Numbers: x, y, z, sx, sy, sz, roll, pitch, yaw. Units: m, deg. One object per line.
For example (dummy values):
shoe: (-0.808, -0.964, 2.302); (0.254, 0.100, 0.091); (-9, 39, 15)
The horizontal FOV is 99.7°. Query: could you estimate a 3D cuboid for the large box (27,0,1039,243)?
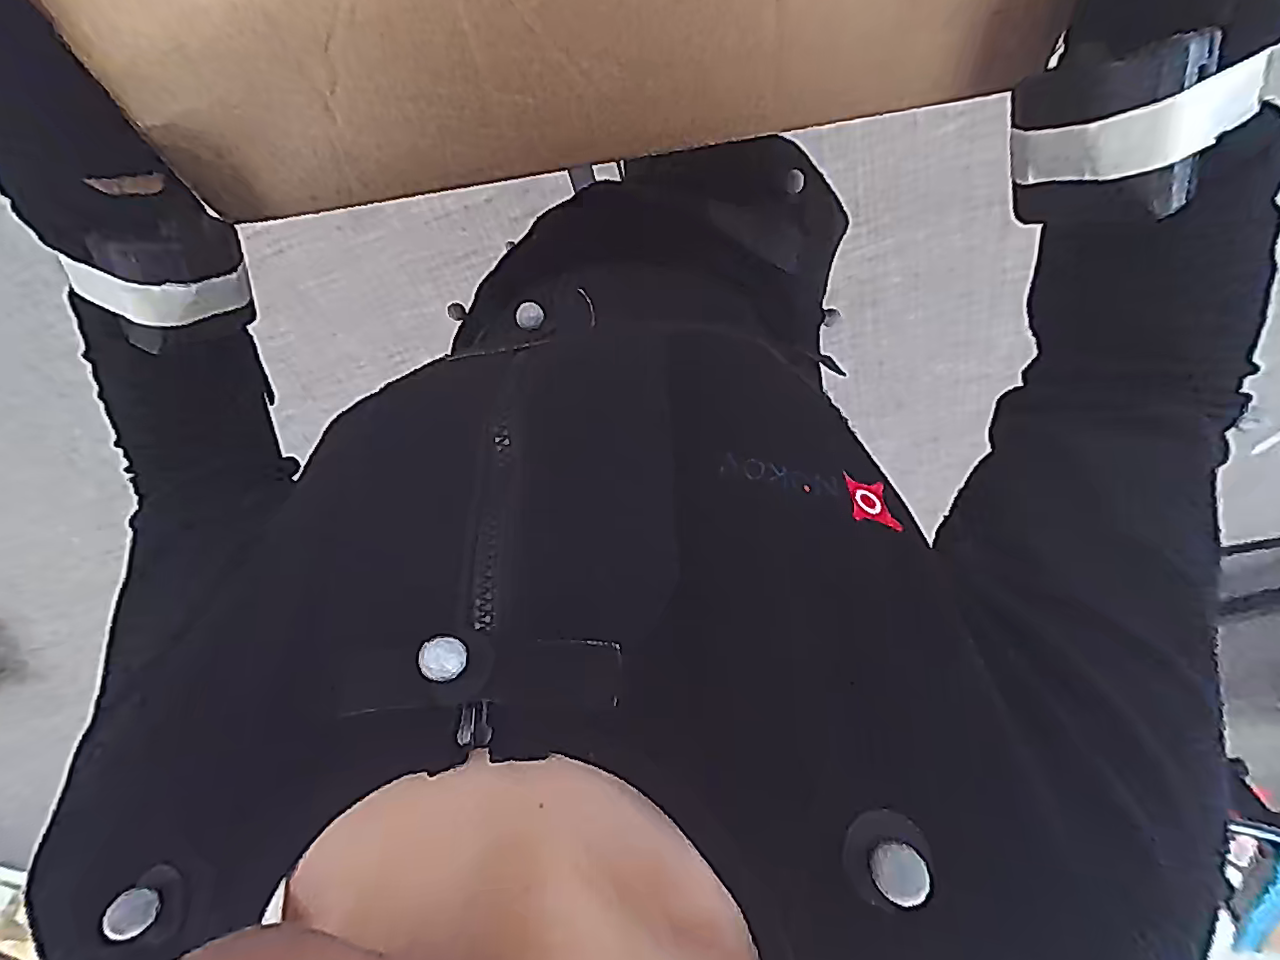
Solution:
large box: (-0.053, -0.359, 0.222); (0.408, 0.320, 0.320); (-5, 151, 9)
